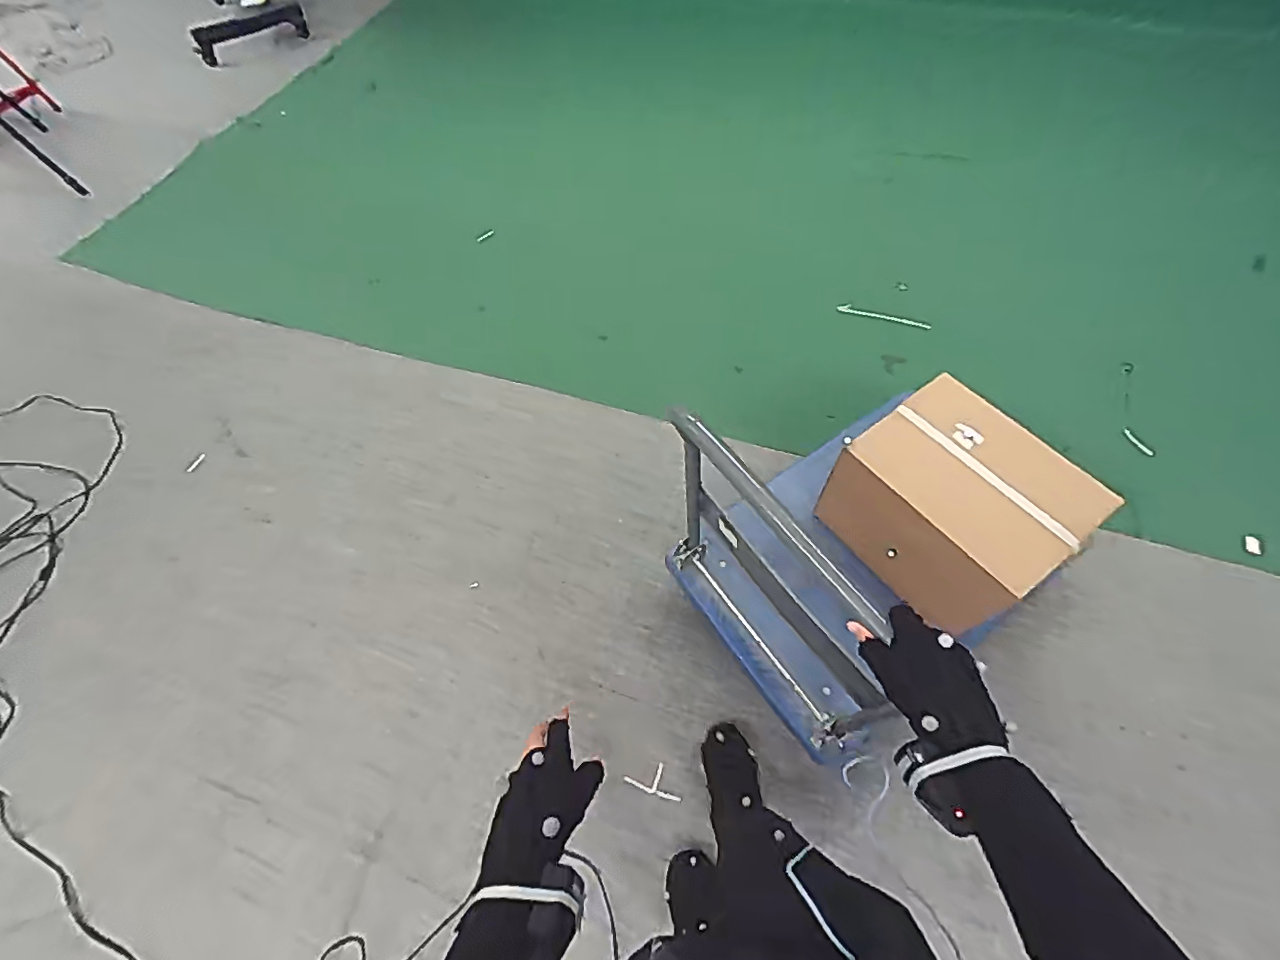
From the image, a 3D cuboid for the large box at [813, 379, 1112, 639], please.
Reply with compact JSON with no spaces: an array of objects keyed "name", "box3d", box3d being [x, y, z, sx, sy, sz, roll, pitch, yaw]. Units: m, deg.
[{"name":"large box","box3d":[0.654,0.067,1.181,0.320,0.320,0.408,-33,62,-15]}]
